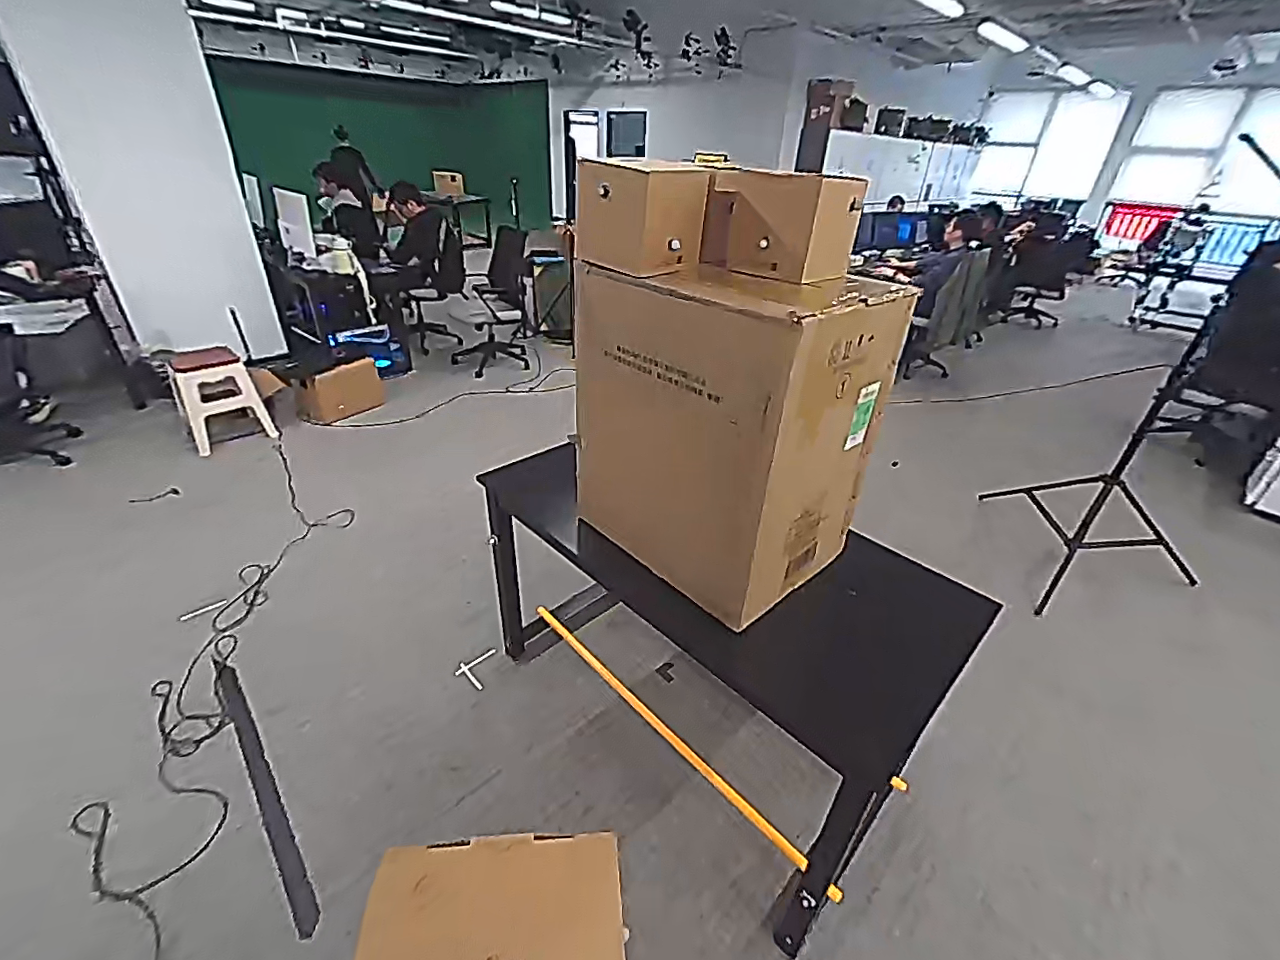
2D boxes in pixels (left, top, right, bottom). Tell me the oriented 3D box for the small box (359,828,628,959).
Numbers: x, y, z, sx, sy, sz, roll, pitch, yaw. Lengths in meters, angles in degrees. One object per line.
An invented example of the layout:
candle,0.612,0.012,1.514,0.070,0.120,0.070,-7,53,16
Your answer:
small box,-0.098,0.367,0.364,0.168,0.176,0.179,2,37,-10

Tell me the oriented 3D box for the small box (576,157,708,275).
small box,-0.003,-0.482,0.986,0.179,0.176,0.168,31,42,32

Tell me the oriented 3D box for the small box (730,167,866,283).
small box,0.281,-0.468,0.991,0.168,0.176,0.179,27,38,36
